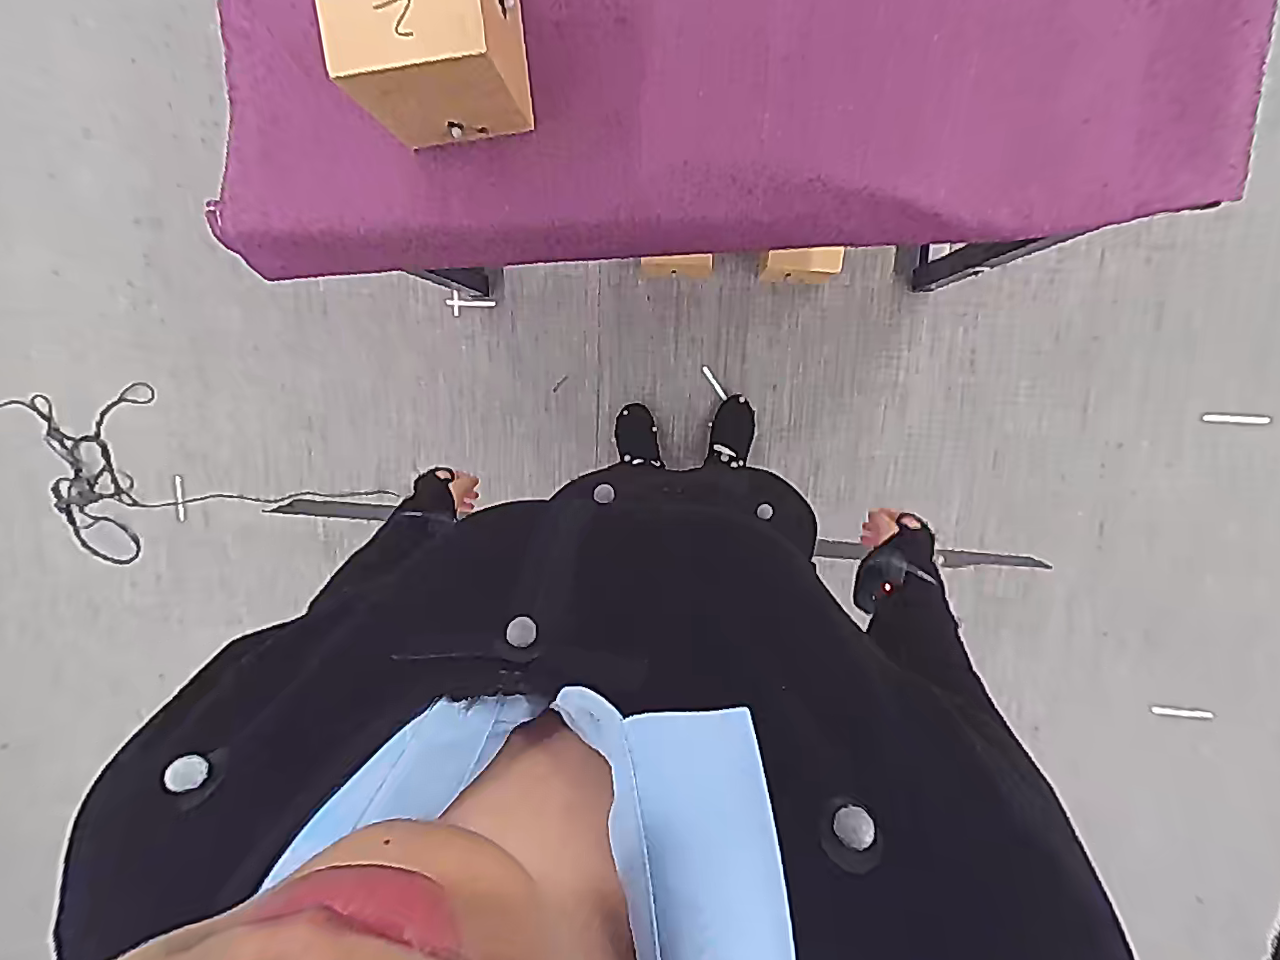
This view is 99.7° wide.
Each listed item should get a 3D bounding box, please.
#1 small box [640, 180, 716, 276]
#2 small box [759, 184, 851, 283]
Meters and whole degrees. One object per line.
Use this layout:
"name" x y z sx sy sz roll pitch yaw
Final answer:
"small box" 0.092 -0.595 1.294 0.168 0.176 0.179 3 100 4
"small box" 0.380 -0.573 1.276 0.168 0.176 0.179 6 100 4
